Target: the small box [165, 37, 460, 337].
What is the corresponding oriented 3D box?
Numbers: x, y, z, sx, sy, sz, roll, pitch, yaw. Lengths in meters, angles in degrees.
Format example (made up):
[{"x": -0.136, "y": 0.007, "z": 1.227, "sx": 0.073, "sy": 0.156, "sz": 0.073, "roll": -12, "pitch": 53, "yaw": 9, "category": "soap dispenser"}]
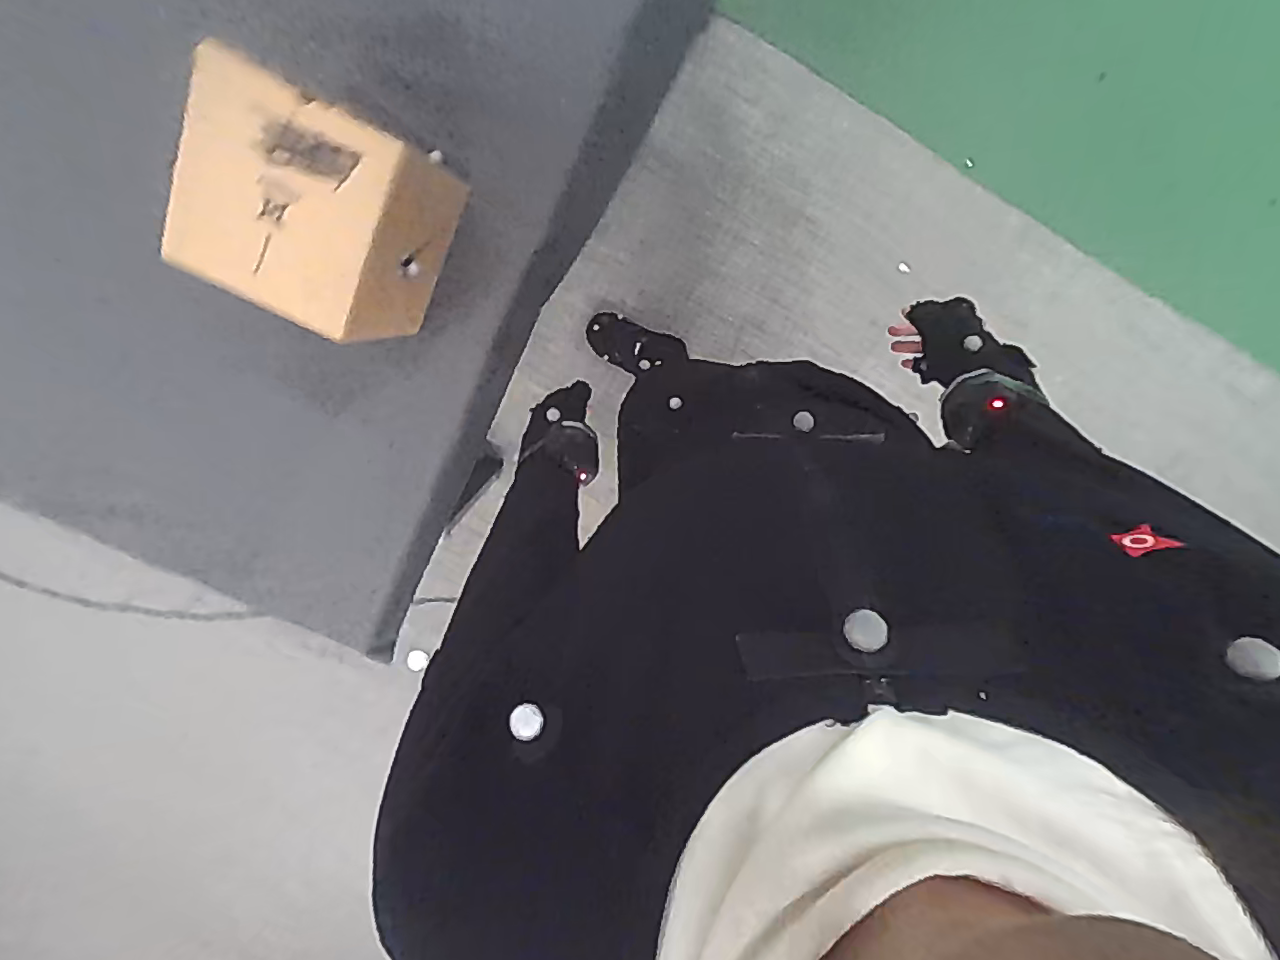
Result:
[{"x": -0.295, "y": -0.260, "z": 0.525, "sx": 0.168, "sy": 0.176, "sz": 0.179, "roll": 26, "pitch": 108, "yaw": -6, "category": "small box"}]
